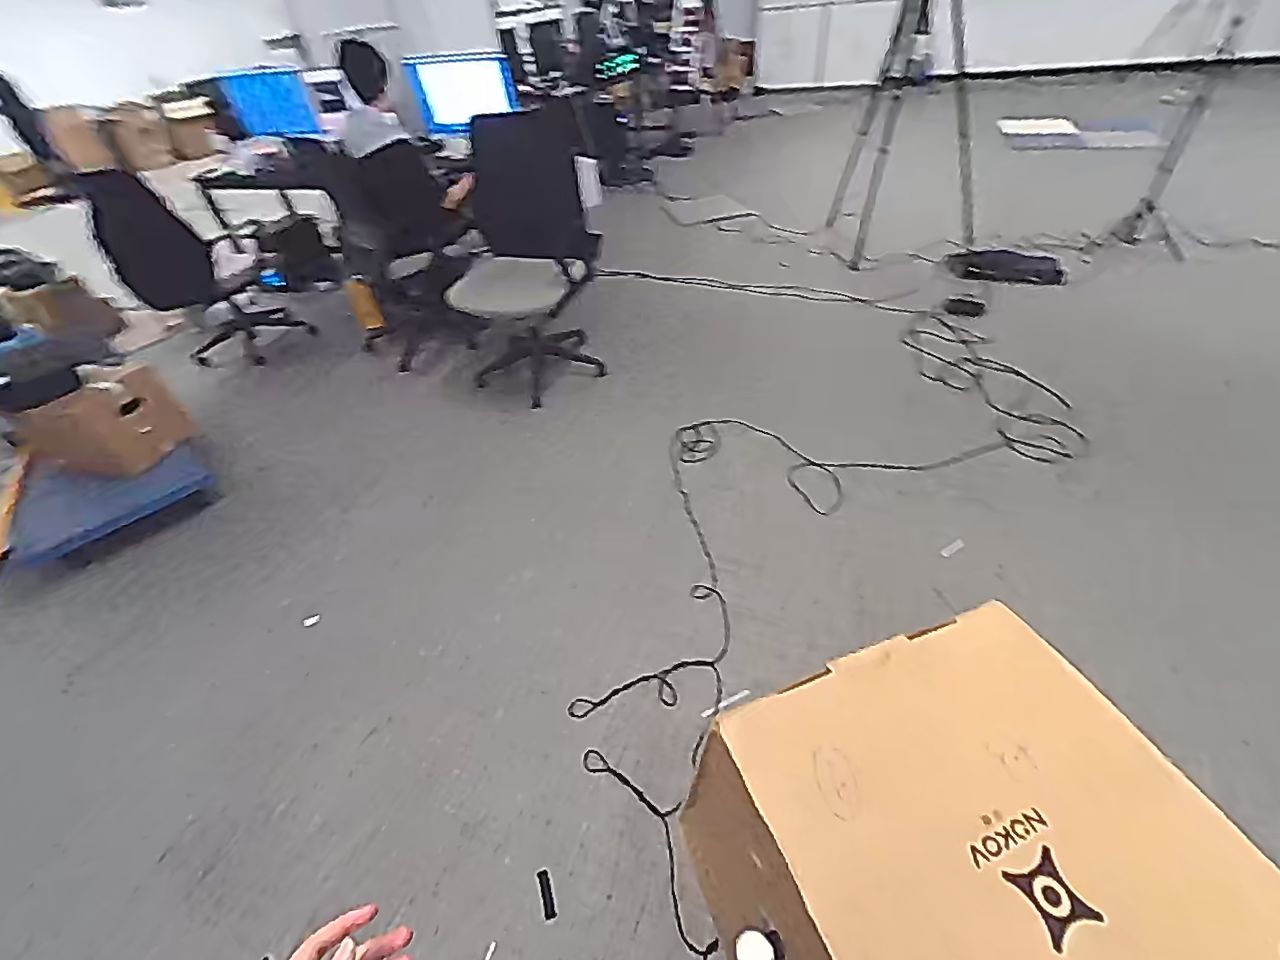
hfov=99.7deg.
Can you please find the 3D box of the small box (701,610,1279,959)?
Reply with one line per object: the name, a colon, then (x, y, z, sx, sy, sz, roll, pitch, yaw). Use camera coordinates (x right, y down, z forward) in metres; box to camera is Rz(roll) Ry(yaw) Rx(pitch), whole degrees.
small box: (0.141, 0.198, 0.255, 0.168, 0.176, 0.179, -15, 47, -17)
